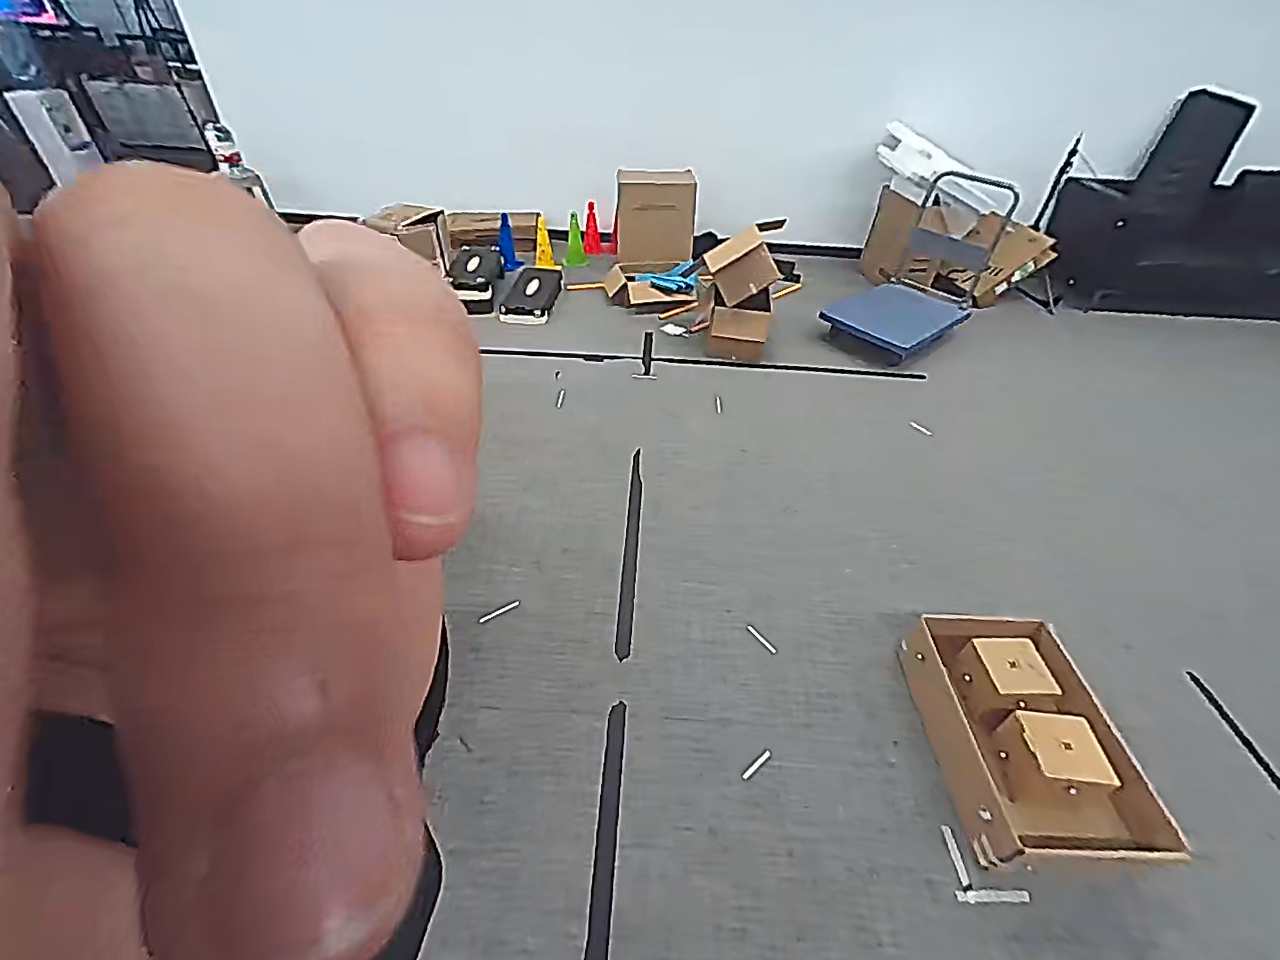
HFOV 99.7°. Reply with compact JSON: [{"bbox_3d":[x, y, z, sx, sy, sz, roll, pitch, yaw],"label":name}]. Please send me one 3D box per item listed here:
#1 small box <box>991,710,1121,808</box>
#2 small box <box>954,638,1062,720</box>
[{"bbox_3d":[1.048,0.715,1.381,0.179,0.176,0.168,6,41,3],"label":"small box"},{"bbox_3d":[1.032,0.569,1.542,0.179,0.176,0.168,1,43,-2],"label":"small box"}]
